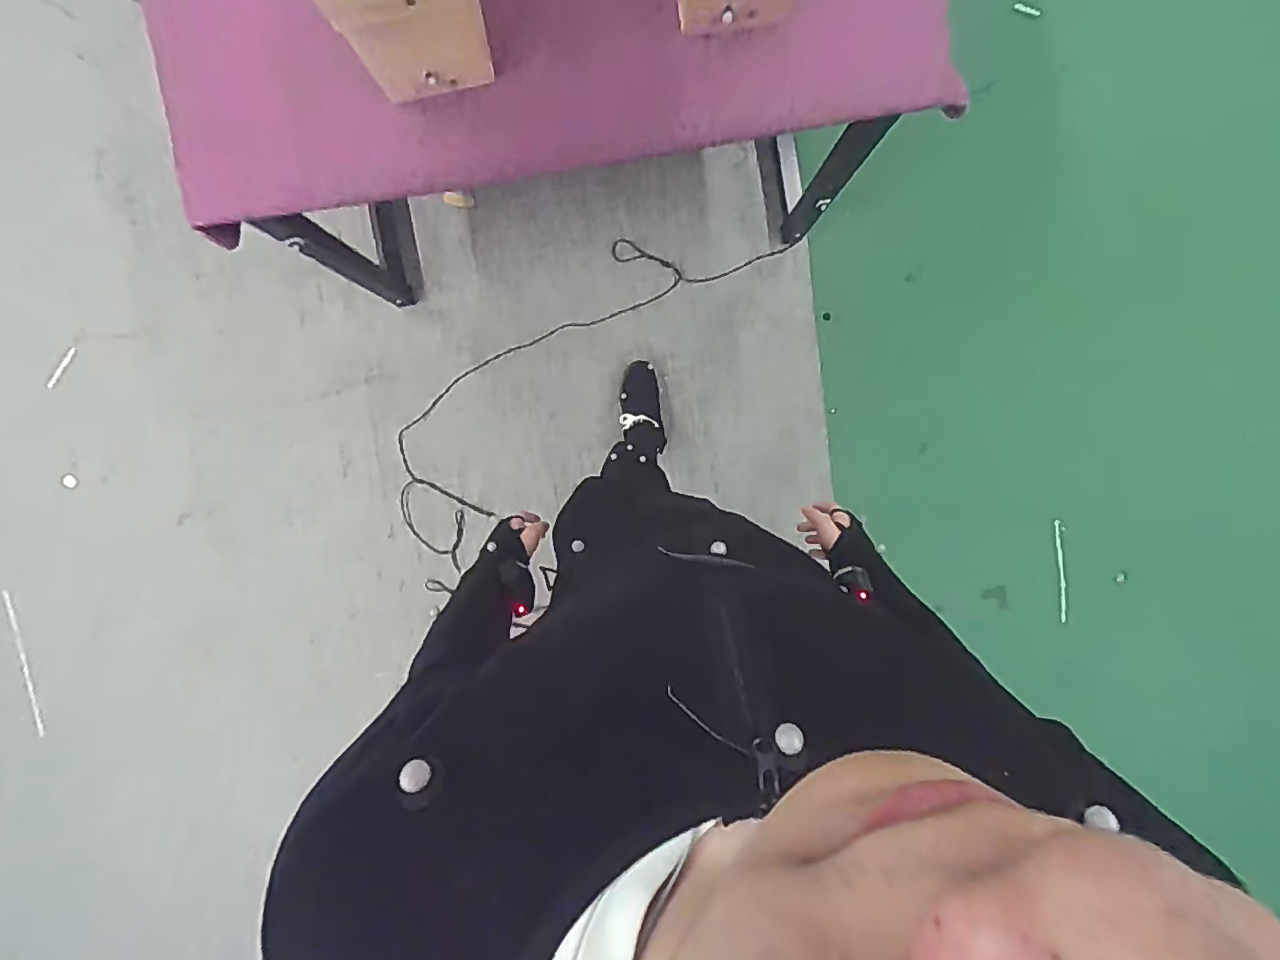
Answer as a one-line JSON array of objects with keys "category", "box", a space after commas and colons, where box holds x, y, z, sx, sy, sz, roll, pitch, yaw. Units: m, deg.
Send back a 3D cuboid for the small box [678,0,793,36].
[{"category": "small box", "box": [0.133, -0.766, 0.738, 0.168, 0.176, 0.179, -7, 94, 2]}]
